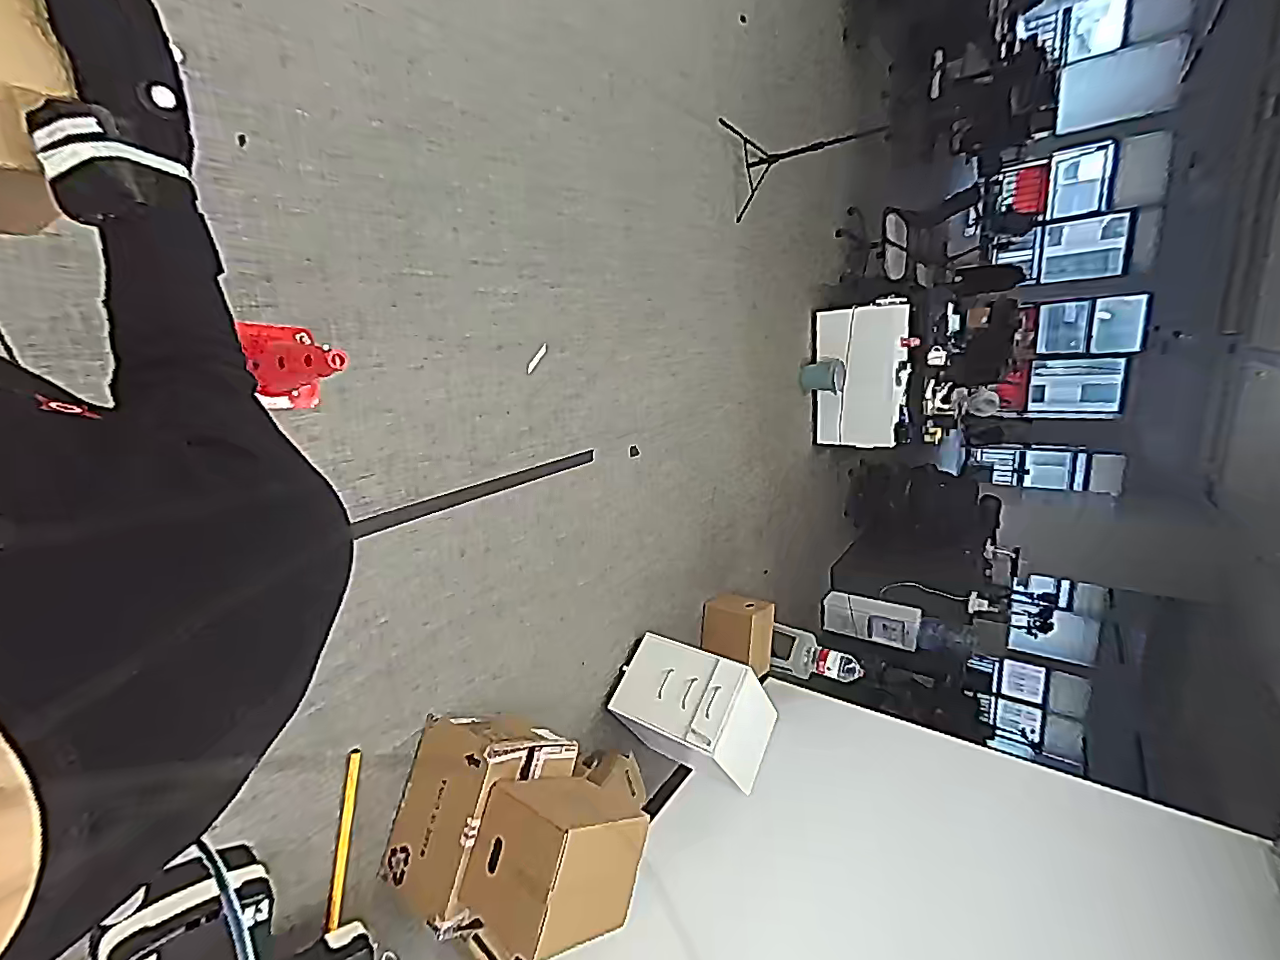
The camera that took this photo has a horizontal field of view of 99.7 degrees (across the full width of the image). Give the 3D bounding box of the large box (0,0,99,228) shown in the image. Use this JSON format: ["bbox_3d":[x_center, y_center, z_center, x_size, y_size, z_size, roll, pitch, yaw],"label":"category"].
[{"bbox_3d":[-0.644,-0.340,0.290,0.408,0.320,0.320,-24,117,-51],"label":"large box"}]

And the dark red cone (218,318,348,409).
[{"bbox_3d":[-0.745,-0.257,1.183,0.201,0.394,0.202,-13,105,-51],"label":"dark red cone"}]
